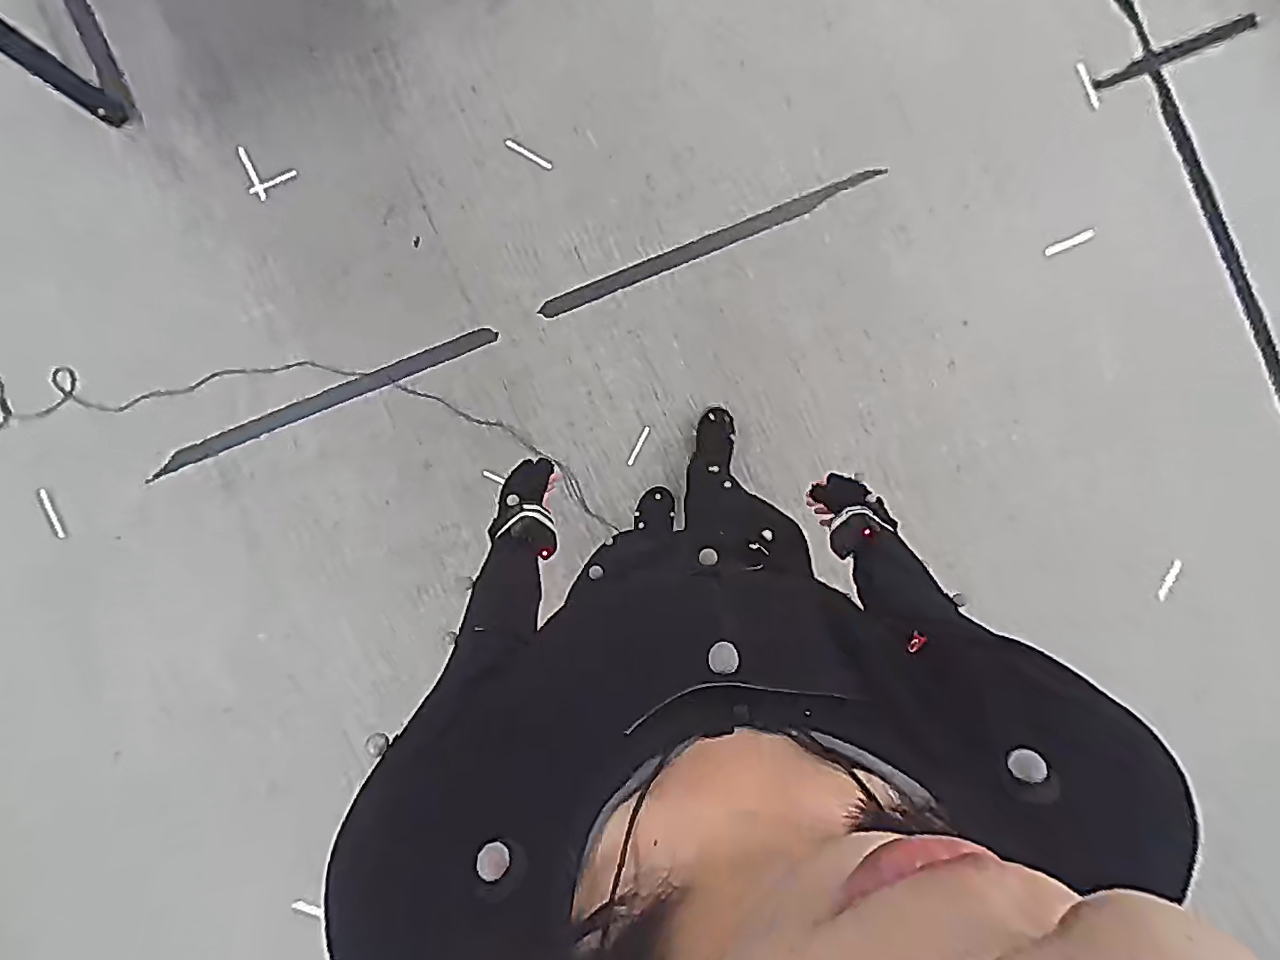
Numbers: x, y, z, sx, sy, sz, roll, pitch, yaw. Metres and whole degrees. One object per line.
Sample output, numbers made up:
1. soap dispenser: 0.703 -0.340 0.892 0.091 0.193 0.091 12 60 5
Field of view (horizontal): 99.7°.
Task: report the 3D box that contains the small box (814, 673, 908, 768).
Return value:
1. small box: 0.583 0.640 1.456 0.179 0.176 0.168 -11 91 -1
